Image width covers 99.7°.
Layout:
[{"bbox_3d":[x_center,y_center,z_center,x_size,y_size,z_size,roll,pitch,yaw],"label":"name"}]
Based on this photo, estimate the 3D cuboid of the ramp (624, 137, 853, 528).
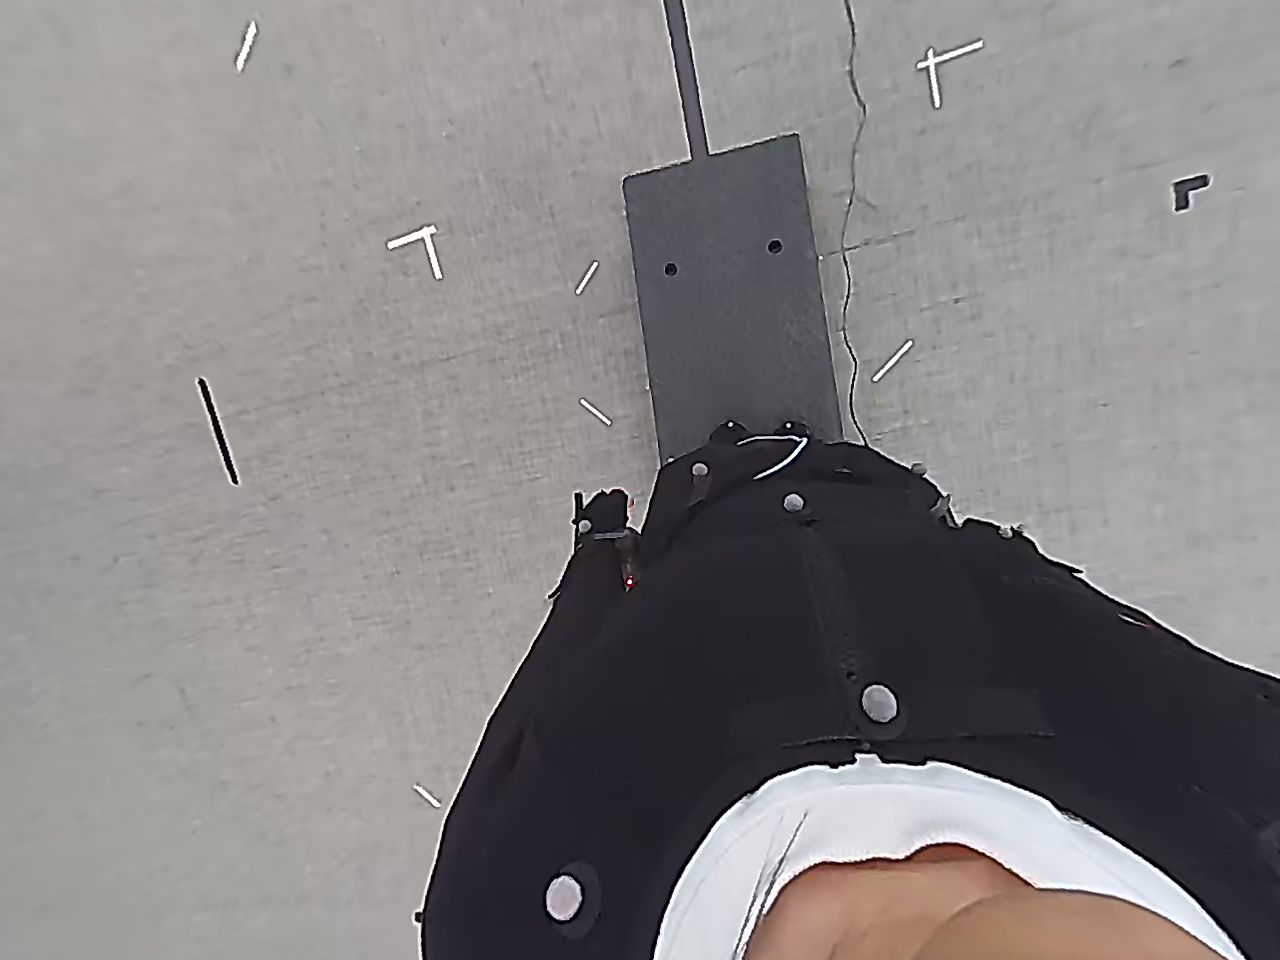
[{"bbox_3d":[0.249,-0.391,1.472,0.509,0.206,0.991,-10,97,13],"label":"ramp"}]
